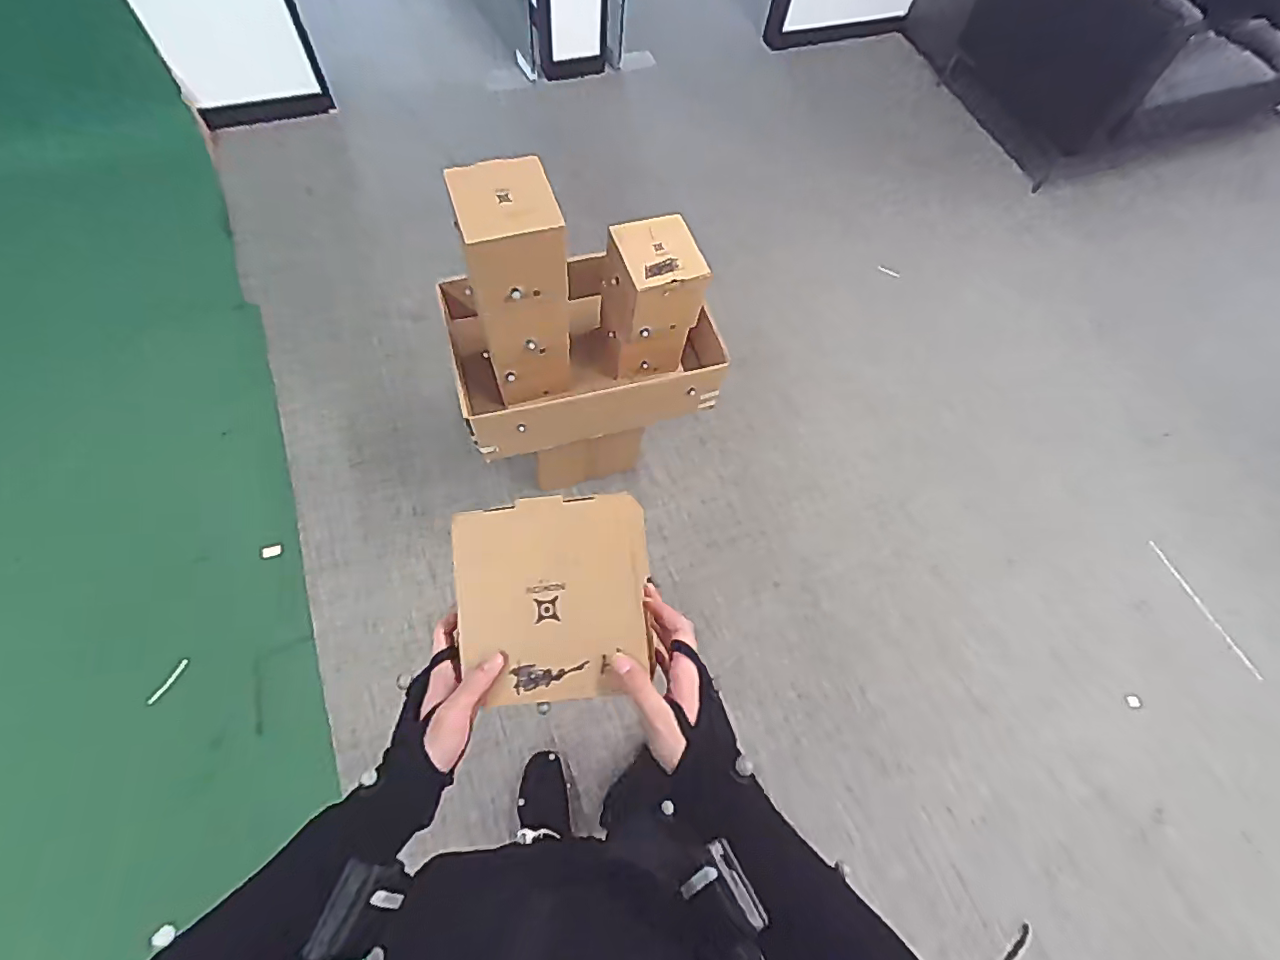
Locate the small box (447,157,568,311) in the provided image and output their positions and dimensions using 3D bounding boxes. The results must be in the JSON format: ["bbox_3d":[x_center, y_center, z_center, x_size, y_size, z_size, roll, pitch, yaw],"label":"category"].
[{"bbox_3d":[-0.231,-0.435,0.966,0.168,0.176,0.179,-16,69,-12],"label":"small box"}]

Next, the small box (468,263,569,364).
[{"bbox_3d":[-0.249,-0.370,1.115,0.168,0.176,0.179,-16,69,-13],"label":"small box"}]

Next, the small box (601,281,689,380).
[{"bbox_3d":[0.005,-0.374,1.329,0.168,0.176,0.179,-12,69,-12],"label":"small box"}]

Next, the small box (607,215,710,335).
[{"bbox_3d":[0.032,-0.436,1.179,0.168,0.176,0.179,-16,69,-14],"label":"small box"}]
